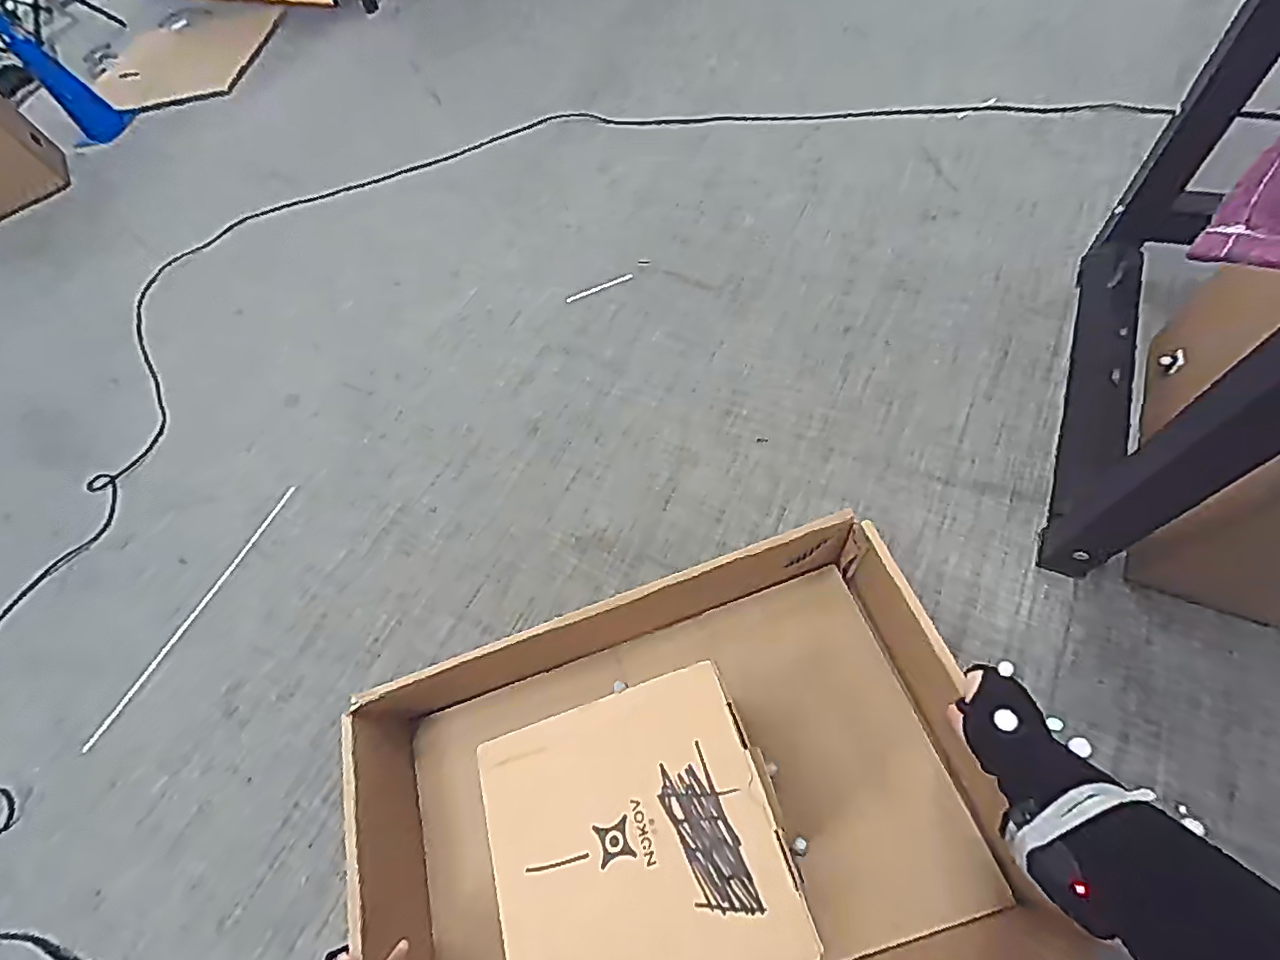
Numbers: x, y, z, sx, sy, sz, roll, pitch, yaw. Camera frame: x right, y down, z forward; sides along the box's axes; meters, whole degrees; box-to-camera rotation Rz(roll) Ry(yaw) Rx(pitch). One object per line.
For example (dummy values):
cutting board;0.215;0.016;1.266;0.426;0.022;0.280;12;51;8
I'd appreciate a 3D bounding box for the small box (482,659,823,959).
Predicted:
small box;0.011;0.249;0.400;0.179;0.176;0.168;-22;61;3
